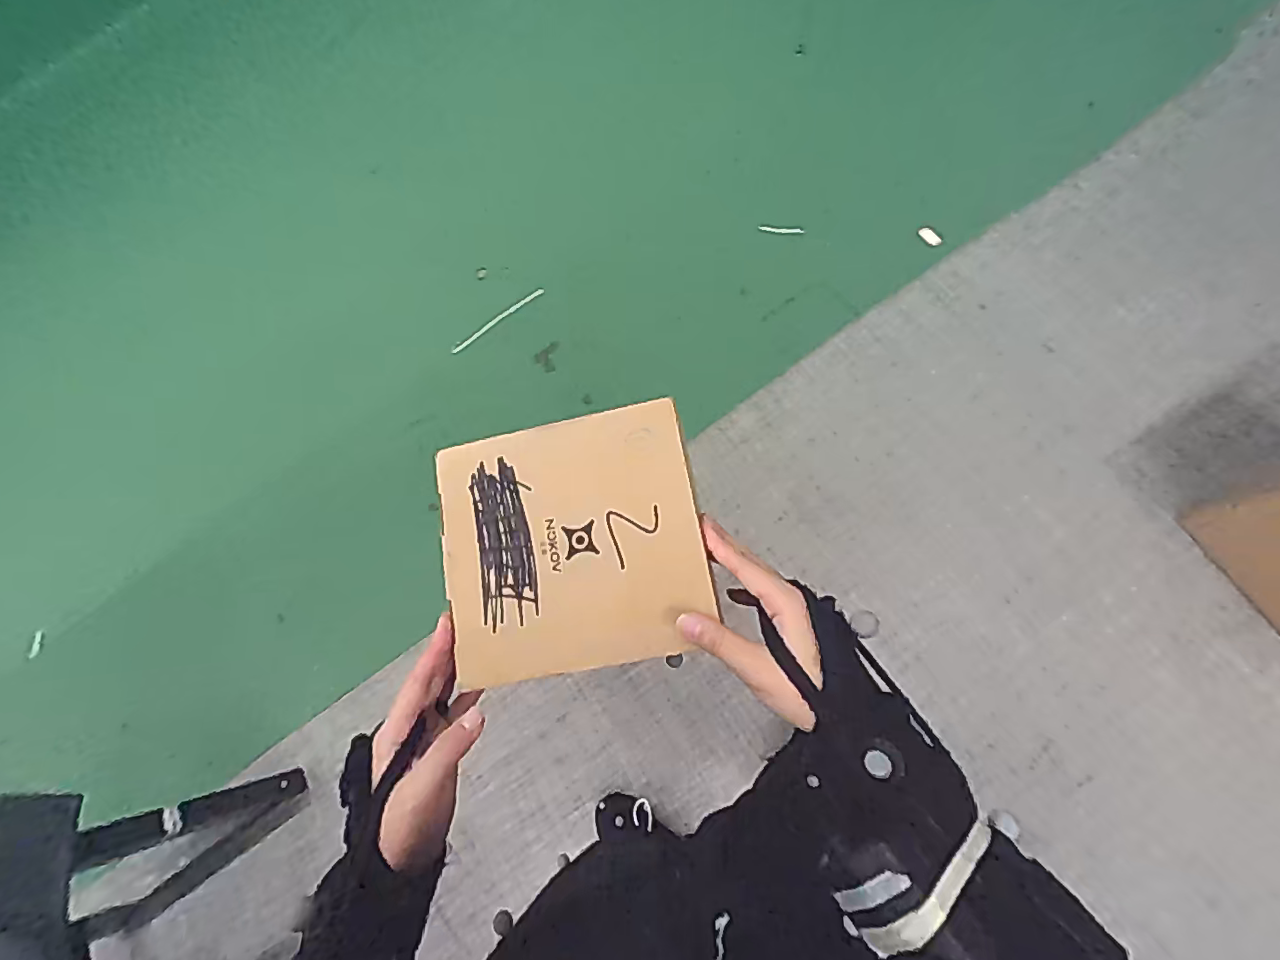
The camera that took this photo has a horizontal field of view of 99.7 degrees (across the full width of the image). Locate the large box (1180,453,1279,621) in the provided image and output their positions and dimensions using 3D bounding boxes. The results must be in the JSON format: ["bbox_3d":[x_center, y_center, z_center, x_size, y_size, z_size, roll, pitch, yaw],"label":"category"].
[{"bbox_3d":[1.274,0.111,0.881,0.320,0.320,0.408,-31,71,2],"label":"large box"}]
